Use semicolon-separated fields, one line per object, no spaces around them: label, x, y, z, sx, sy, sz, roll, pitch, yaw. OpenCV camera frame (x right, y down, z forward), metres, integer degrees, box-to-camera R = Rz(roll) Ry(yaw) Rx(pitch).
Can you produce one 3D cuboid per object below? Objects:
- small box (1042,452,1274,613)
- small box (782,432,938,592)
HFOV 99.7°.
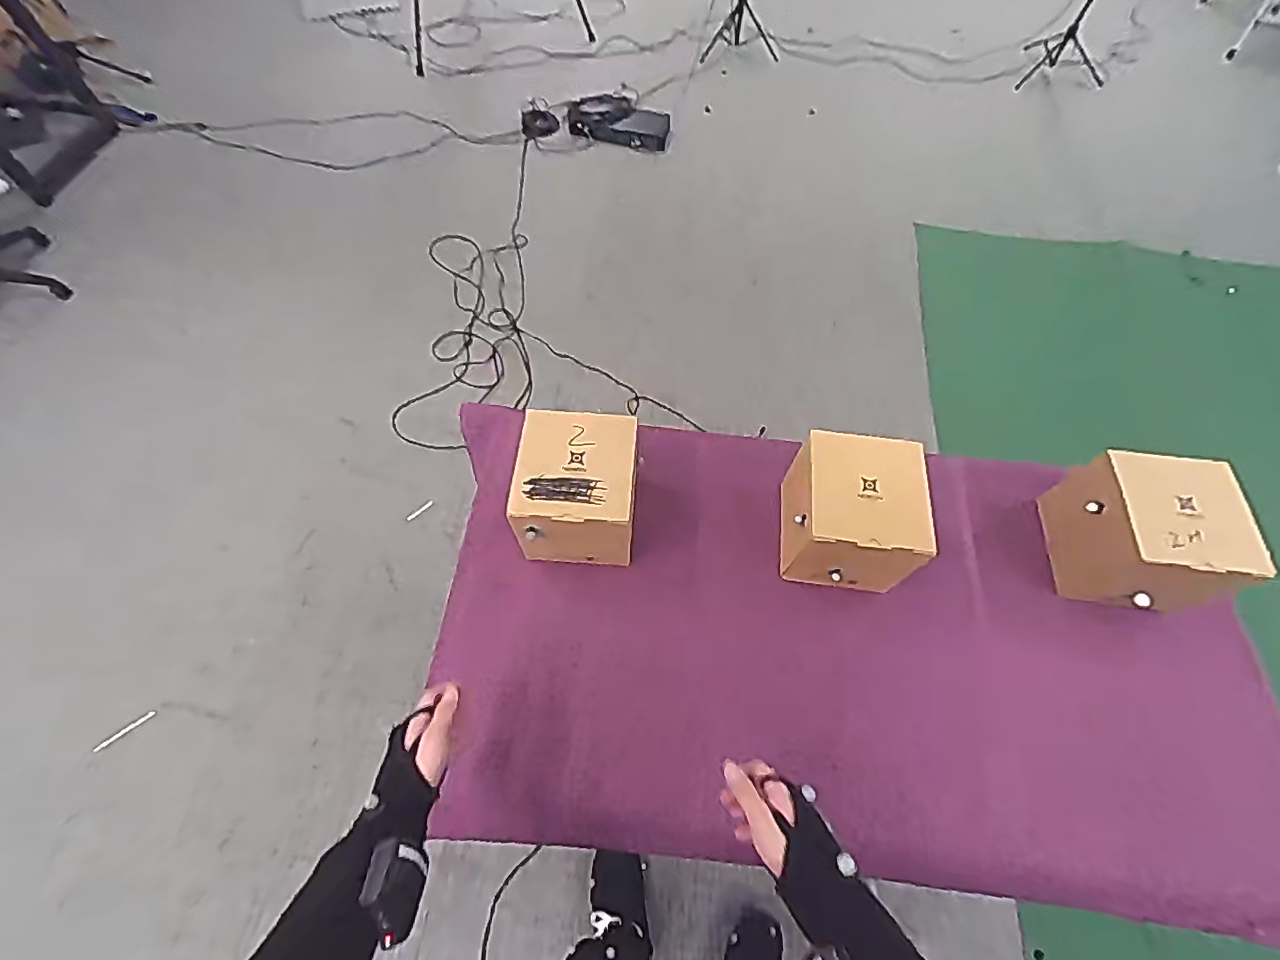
small box;0.744;0.083;0.806;0.168;0.176;0.179;7;62;5
small box;0.316;0.053;0.816;0.168;0.176;0.179;7;63;2
